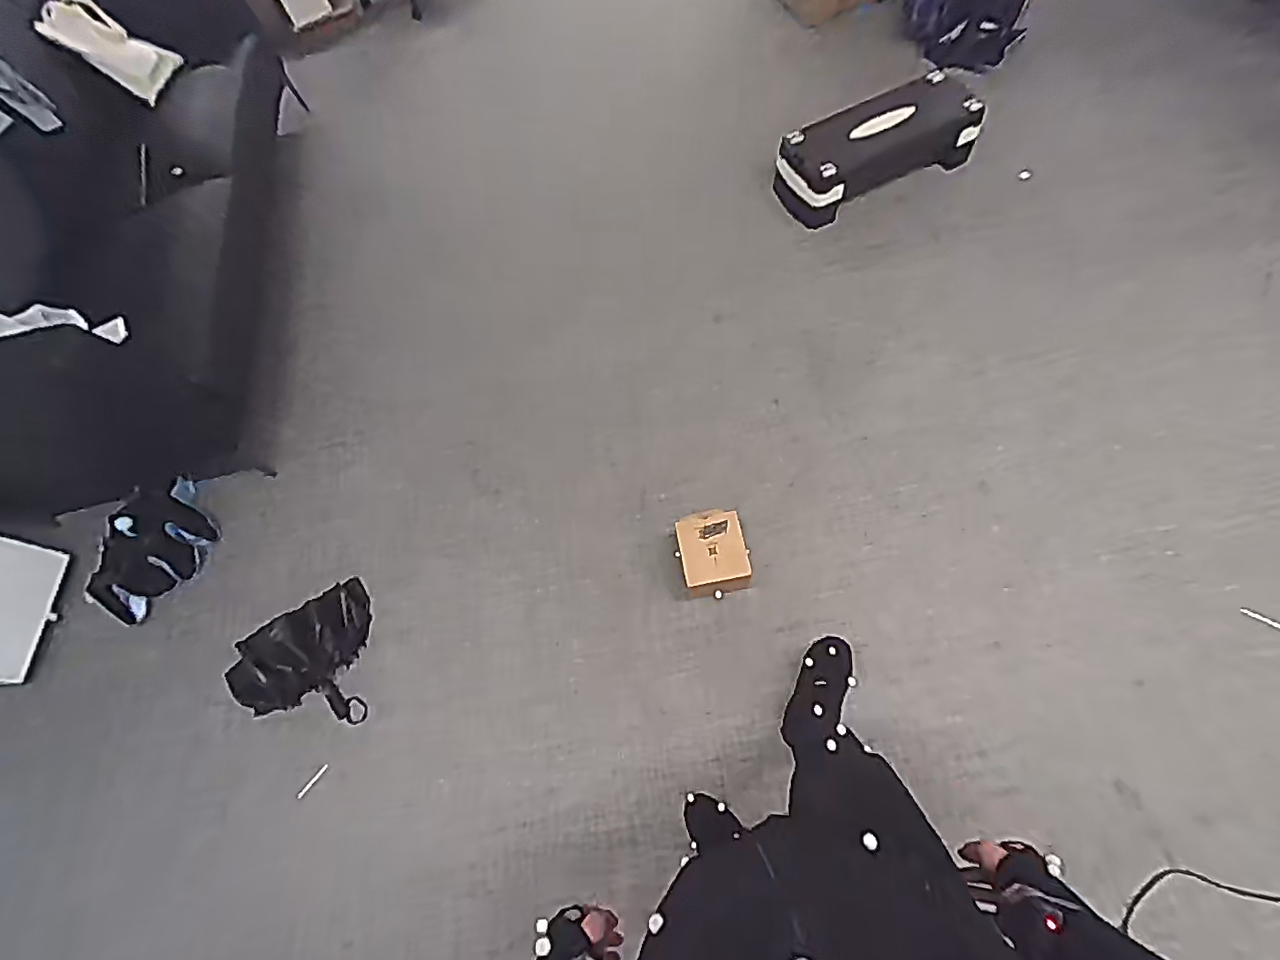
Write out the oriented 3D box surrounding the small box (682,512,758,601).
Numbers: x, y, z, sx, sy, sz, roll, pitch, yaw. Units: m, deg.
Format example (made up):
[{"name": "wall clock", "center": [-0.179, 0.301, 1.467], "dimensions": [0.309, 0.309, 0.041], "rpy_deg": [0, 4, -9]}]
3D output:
[{"name": "small box", "center": [0.210, 0.208, 1.441], "dimensions": [0.168, 0.176, 0.179], "rpy_deg": [-12, 65, 5]}]
